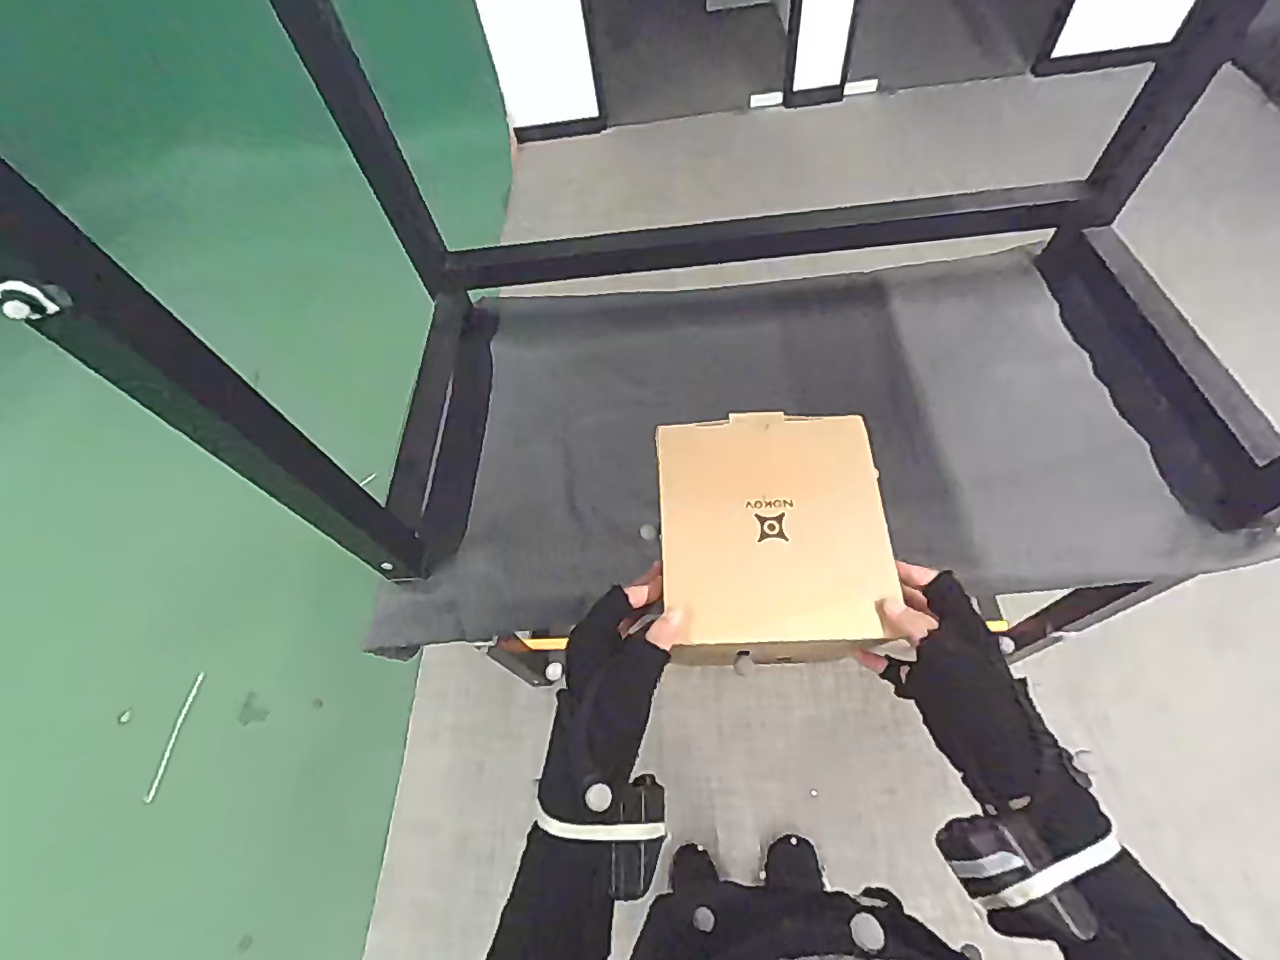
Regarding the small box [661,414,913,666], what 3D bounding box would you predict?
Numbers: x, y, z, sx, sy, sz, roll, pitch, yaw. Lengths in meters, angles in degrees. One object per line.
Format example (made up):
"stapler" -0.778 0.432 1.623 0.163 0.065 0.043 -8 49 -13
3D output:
"small box" 0.106 0.064 0.469 0.168 0.176 0.179 -3 64 3
